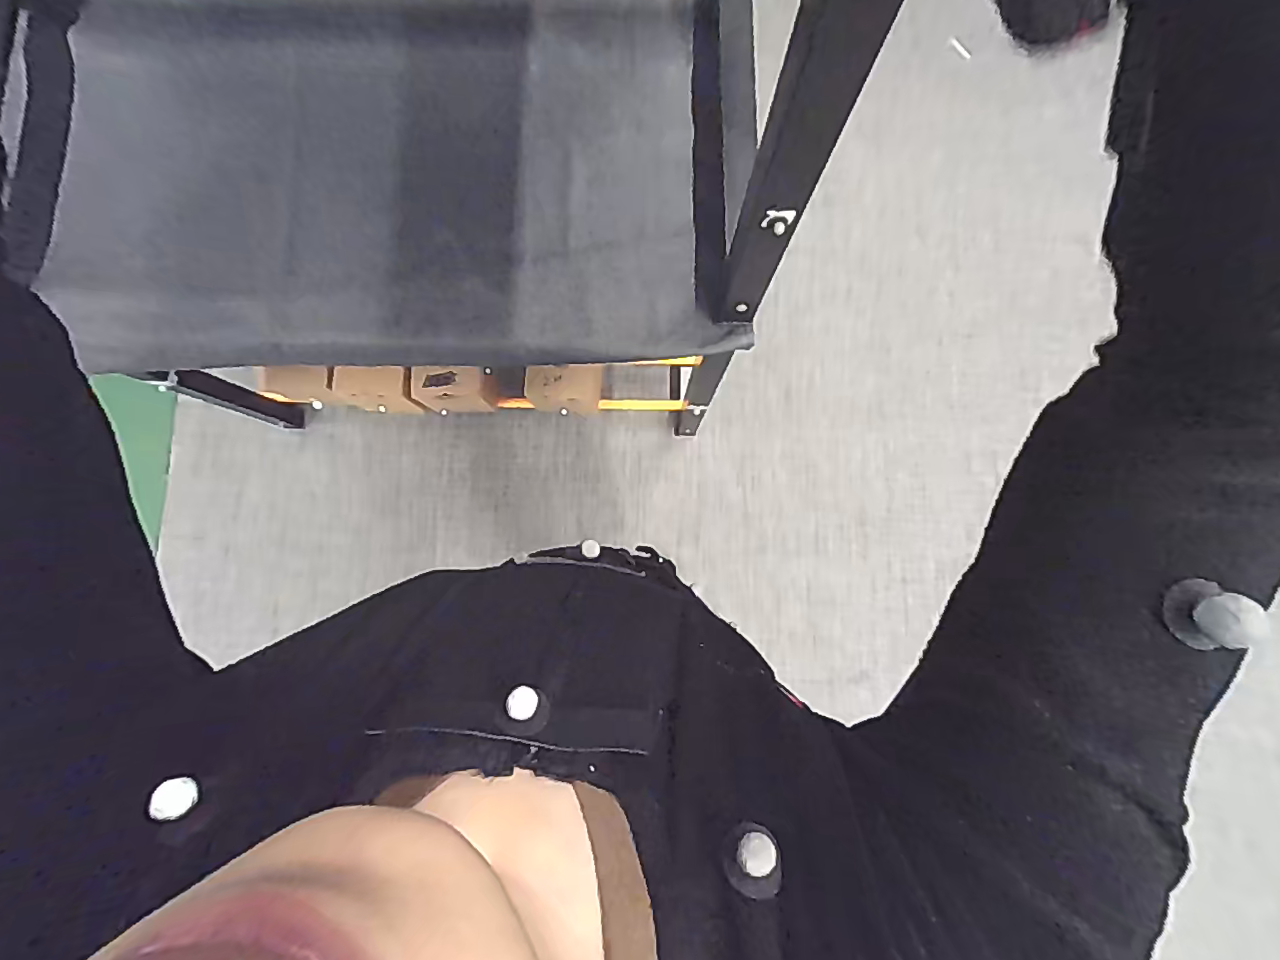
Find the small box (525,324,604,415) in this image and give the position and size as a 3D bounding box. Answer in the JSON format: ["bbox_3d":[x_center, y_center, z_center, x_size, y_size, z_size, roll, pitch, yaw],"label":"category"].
[{"bbox_3d":[-0.185,-0.277,1.381,0.168,0.176,0.179,6,85,2],"label":"small box"}]
